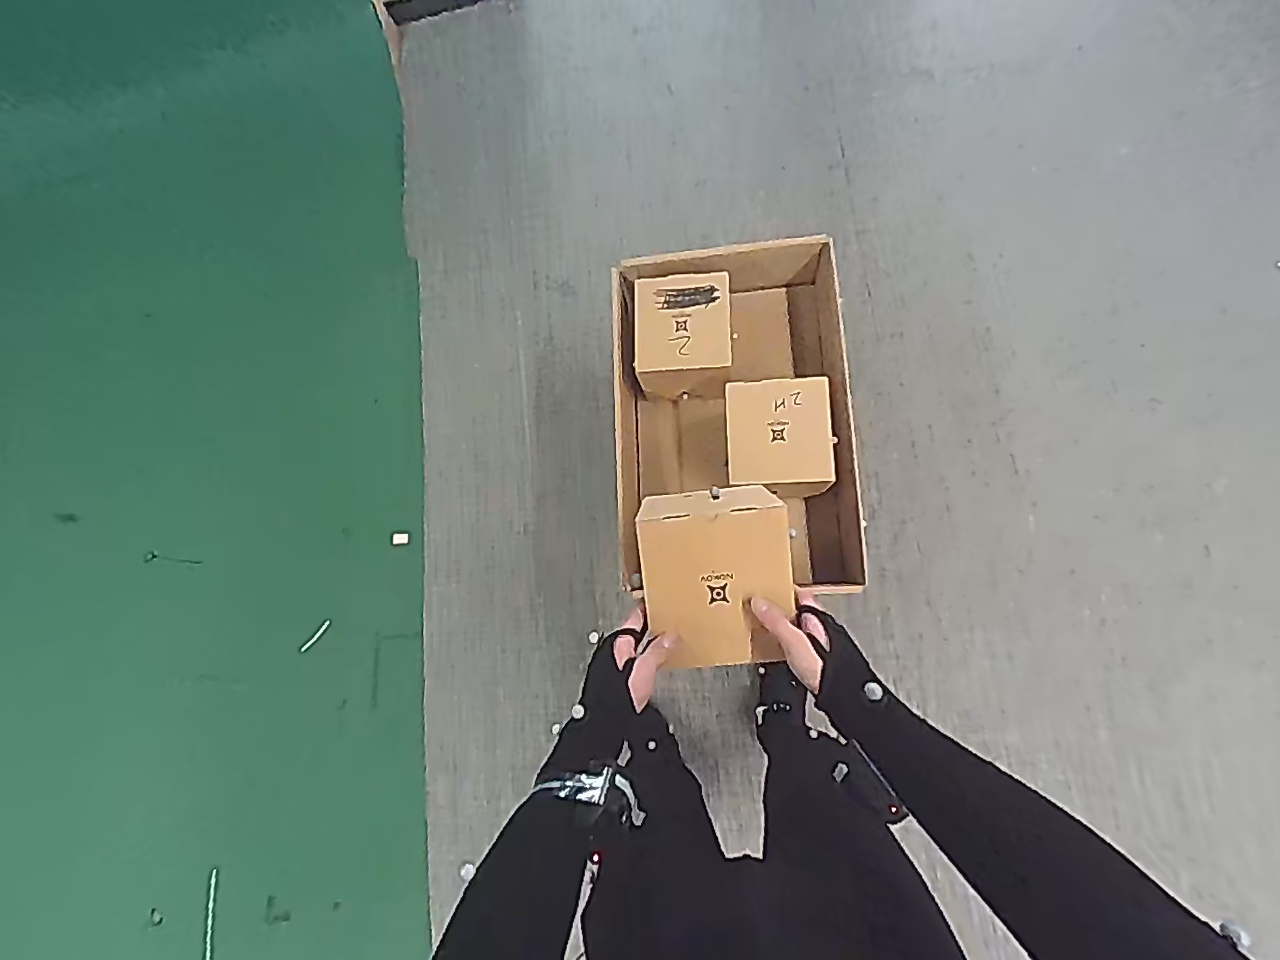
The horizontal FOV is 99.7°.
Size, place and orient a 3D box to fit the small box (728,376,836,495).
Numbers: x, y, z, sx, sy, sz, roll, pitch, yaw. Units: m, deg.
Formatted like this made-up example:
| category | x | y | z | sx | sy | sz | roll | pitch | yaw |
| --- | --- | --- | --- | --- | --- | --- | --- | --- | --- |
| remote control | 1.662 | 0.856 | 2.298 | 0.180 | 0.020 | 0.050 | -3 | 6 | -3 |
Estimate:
| category | x | y | z | sx | sy | sz | roll | pitch | yaw |
| --- | --- | --- | --- | --- | --- | --- | --- | --- | --- |
| small box | 0.237 | -0.067 | 0.935 | 0.168 | 0.176 | 0.179 | -1 | 81 | 9 |

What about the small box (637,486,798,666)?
| category | x | y | z | sx | sy | sz | roll | pitch | yaw |
| --- | --- | --- | --- | --- | --- | --- | --- | --- | --- |
| small box | 0.092 | 0.108 | 0.668 | 0.168 | 0.176 | 0.179 | -6 | 94 | 5 |
